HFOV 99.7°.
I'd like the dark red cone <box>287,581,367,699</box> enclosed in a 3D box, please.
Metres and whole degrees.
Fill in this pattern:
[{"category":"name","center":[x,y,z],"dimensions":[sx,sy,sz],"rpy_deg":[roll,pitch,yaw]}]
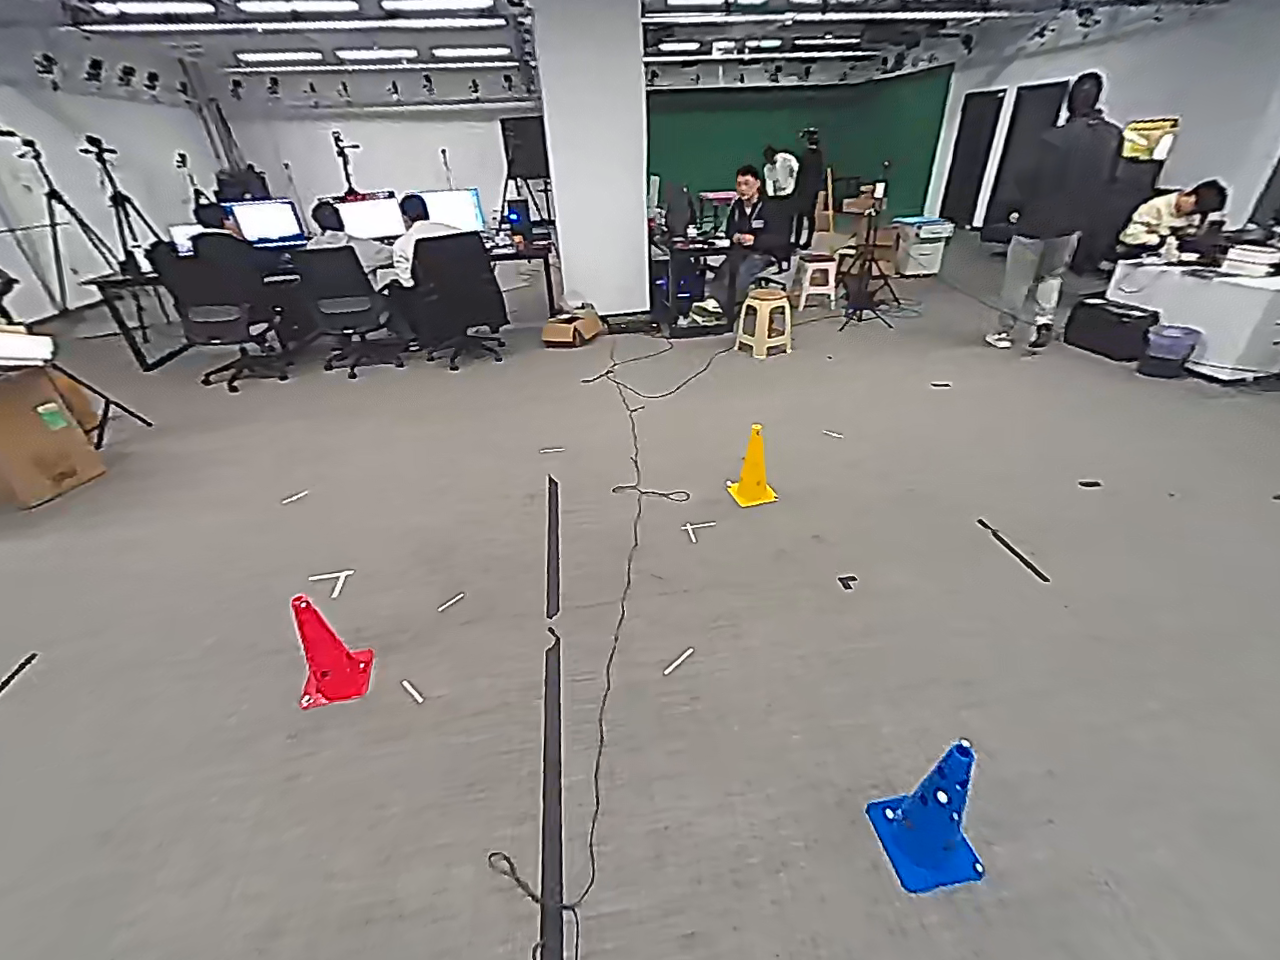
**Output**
[{"category":"dark red cone","center":[-1.001,0.473,1.663],"dimensions":[0.201,0.394,0.202],"rpy_deg":[-9,32,-13]}]

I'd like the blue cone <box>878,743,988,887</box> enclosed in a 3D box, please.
[{"category":"blue cone","center":[0.679,0.708,1.193],"dimensions":[0.192,0.380,0.193],"rpy_deg":[-5,31,-6]}]
